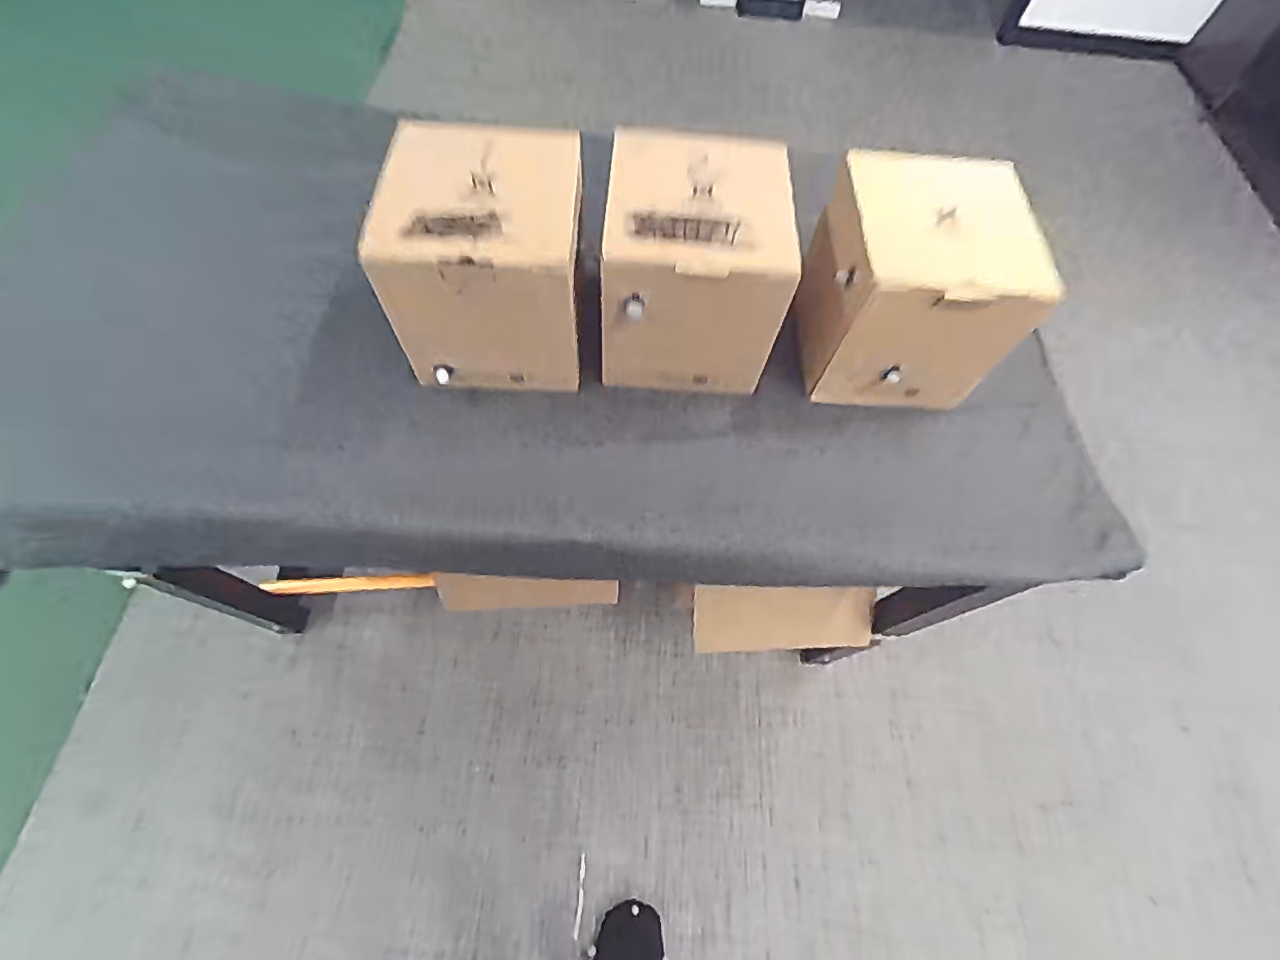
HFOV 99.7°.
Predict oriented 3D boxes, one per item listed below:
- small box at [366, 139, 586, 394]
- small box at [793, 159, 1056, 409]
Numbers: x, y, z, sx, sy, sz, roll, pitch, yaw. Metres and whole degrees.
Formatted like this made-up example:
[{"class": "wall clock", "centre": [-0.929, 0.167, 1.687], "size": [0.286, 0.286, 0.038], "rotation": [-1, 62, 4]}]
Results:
[{"class": "small box", "centre": [-0.142, -0.202, 0.540], "size": [0.168, 0.176, 0.179], "rotation": [1, 63, -4]}, {"class": "small box", "centre": [0.270, -0.196, 0.564], "size": [0.168, 0.176, 0.179], "rotation": [2, 64, -2]}]
